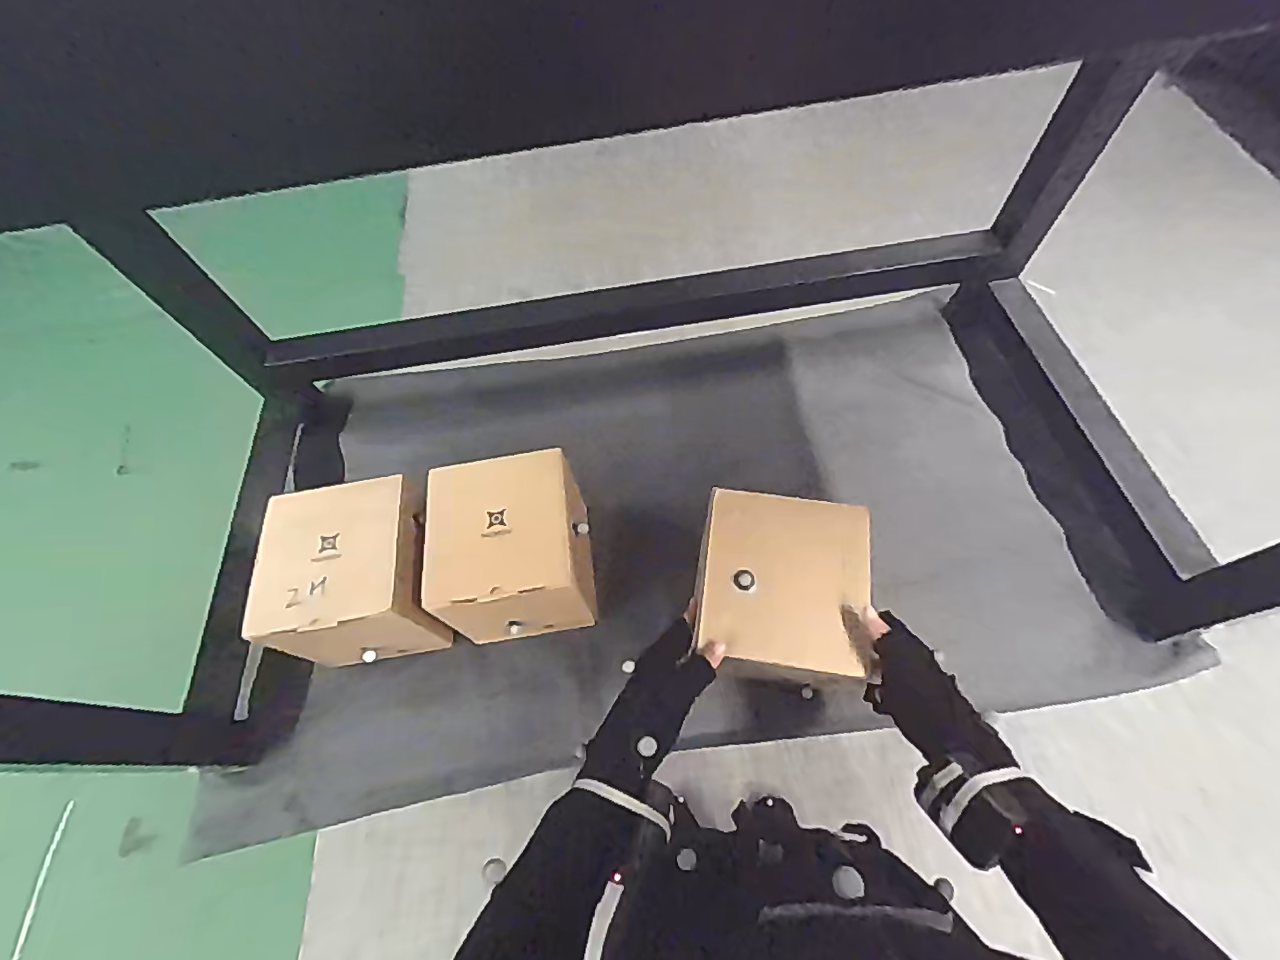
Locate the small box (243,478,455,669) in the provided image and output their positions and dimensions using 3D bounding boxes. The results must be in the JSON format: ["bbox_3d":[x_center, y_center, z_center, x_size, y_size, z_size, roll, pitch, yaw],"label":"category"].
[{"bbox_3d":[-0.345,0.123,0.683,0.168,0.176,0.179,-10,60,1],"label":"small box"}]
